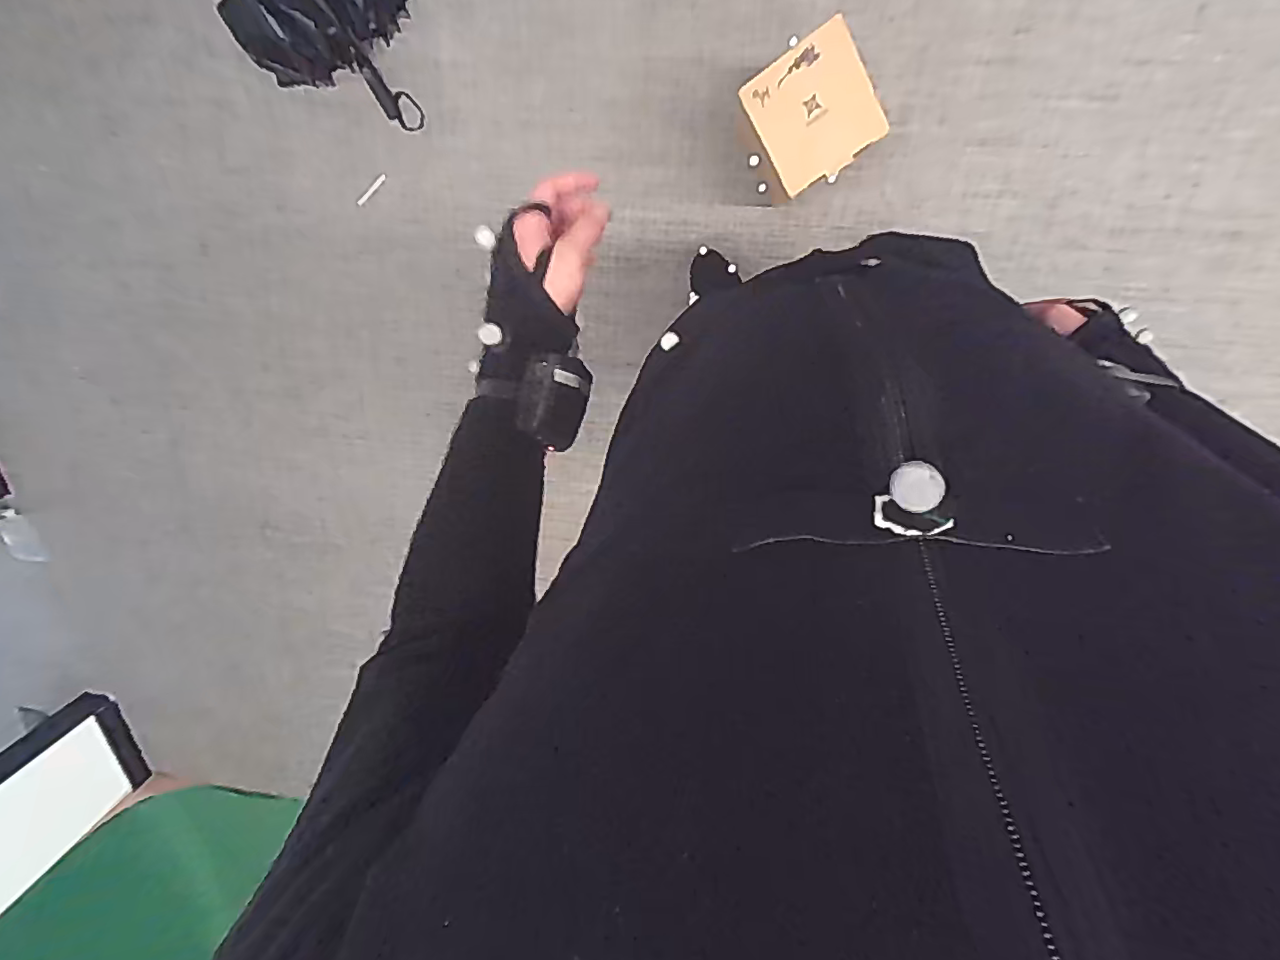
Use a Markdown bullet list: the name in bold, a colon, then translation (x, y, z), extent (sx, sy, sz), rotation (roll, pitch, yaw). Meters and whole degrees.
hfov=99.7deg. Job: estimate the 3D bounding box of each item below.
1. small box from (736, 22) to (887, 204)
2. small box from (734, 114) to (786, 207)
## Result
- **small box**: translation (0.271, -0.582, 0.886), extent (0.168, 0.176, 0.179), rotation (-29, 108, 19)
- **small box**: translation (0.294, -0.650, 1.034), extent (0.168, 0.176, 0.179), rotation (-29, 105, 19)
